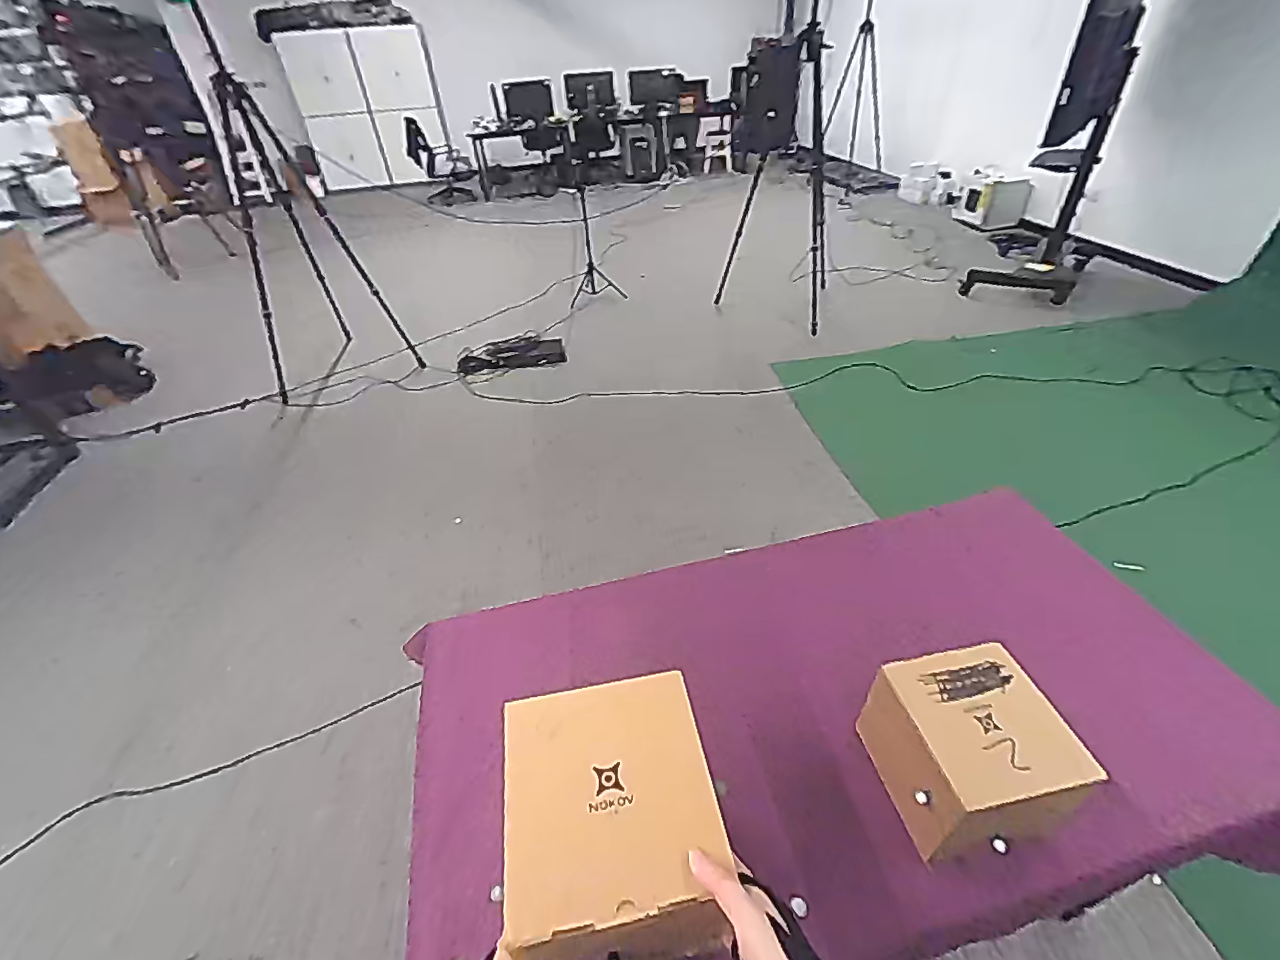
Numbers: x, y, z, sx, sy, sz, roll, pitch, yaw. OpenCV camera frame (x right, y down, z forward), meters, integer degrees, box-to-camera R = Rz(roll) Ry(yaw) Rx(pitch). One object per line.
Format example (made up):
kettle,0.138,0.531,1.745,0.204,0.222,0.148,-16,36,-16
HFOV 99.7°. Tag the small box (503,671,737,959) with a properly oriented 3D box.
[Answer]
small box,-0.026,0.305,0.484,0.168,0.176,0.179,-8,42,-8
